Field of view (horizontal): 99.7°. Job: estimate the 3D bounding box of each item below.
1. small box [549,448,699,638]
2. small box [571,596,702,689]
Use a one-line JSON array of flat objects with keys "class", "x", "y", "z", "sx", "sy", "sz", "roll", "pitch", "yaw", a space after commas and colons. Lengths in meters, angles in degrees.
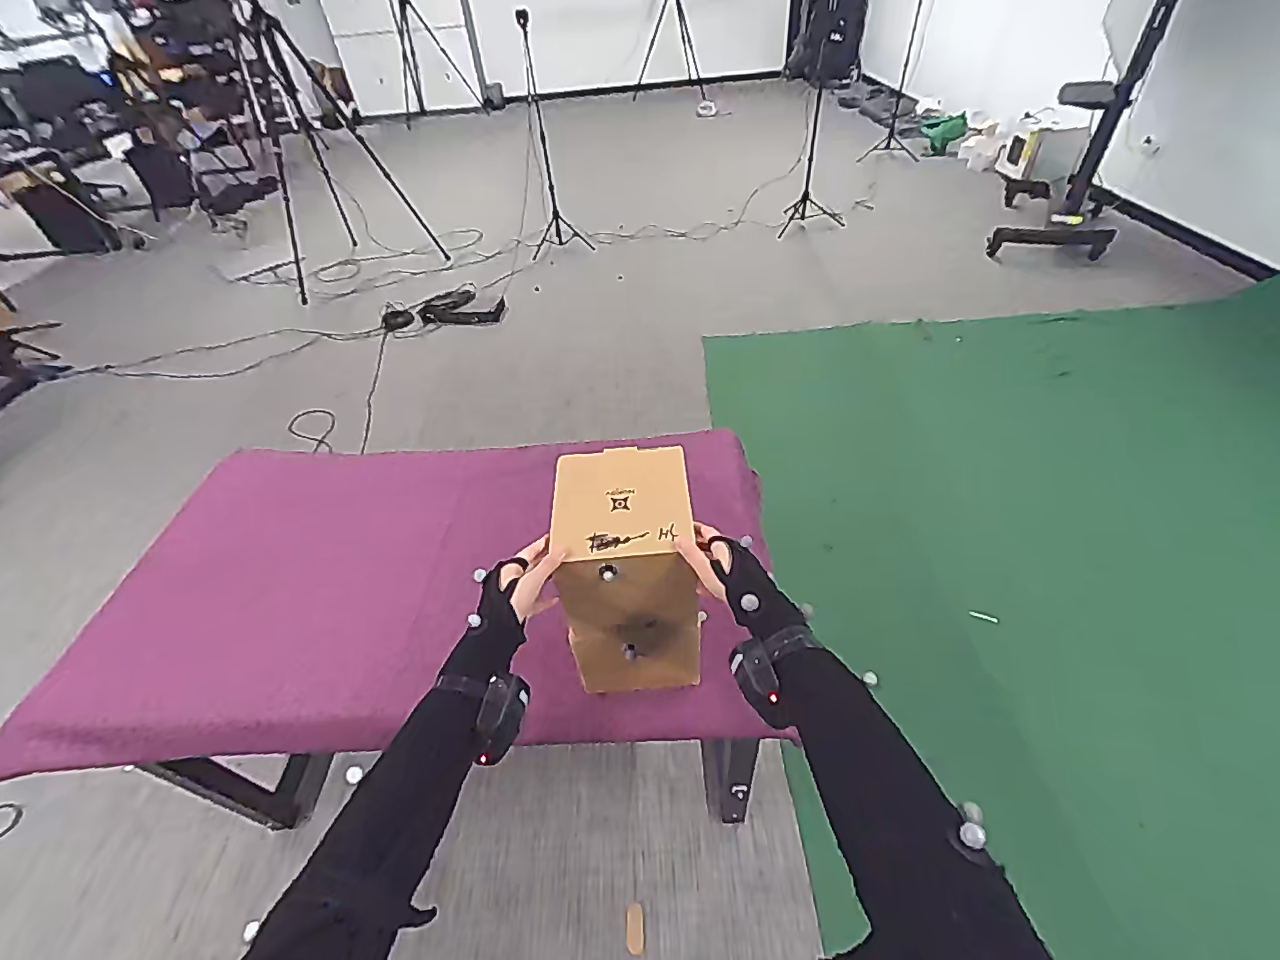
[{"class": "small box", "x": -0.015, "y": 0.083, "z": 0.708, "sx": 0.168, "sy": 0.176, "sz": 0.179, "roll": -7, "pitch": 45, "yaw": 3}, {"class": "small box", "x": -0.001, "y": 0.200, "z": 0.821, "sx": 0.179, "sy": 0.176, "sz": 0.168, "roll": -7, "pitch": 45, "yaw": 3}]
